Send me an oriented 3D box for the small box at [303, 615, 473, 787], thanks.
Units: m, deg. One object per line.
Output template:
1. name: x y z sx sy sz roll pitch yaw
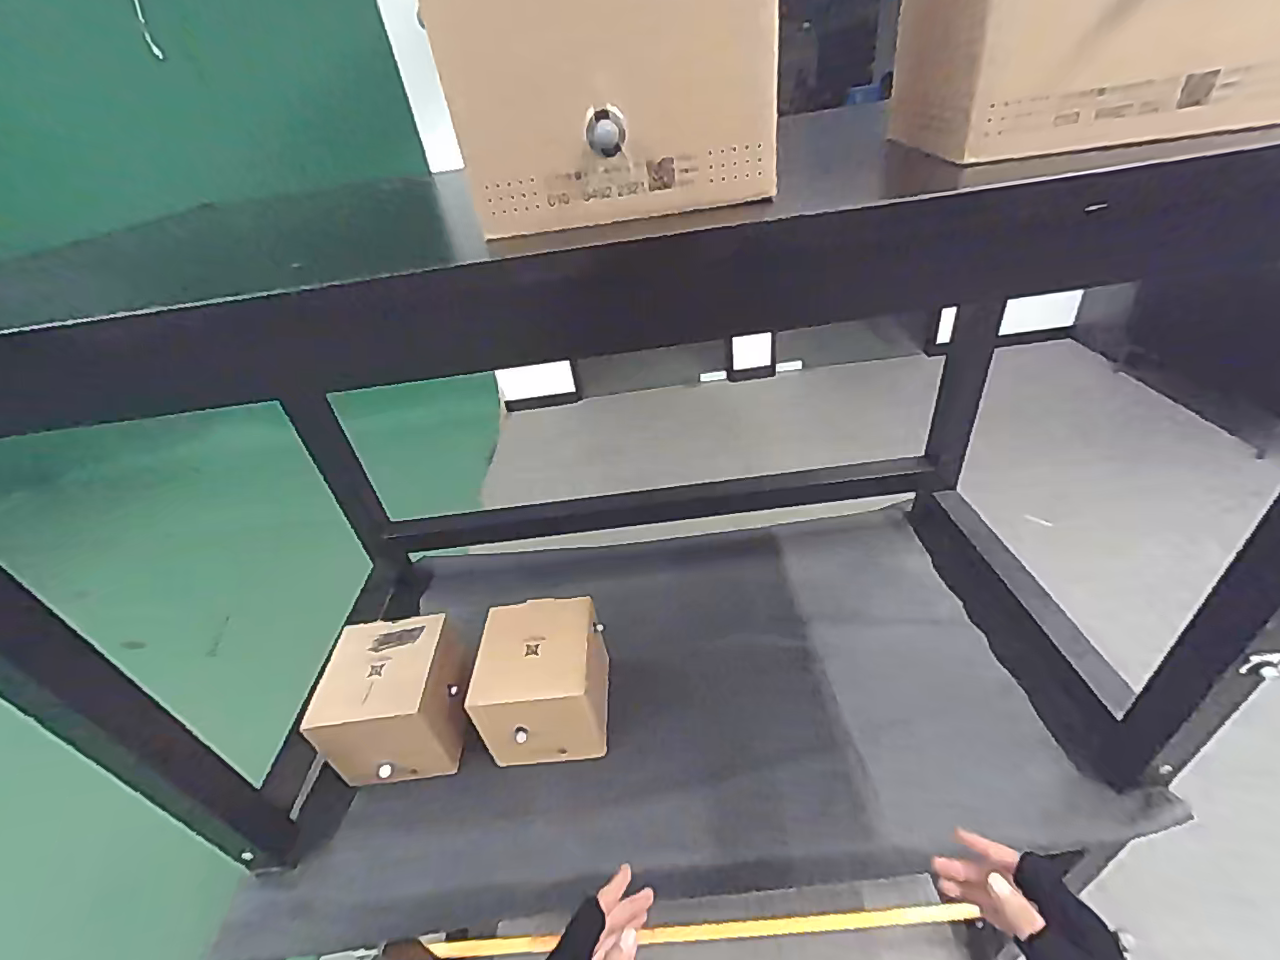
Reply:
1. small box: -0.368 0.338 0.835 0.168 0.176 0.179 -9 35 1

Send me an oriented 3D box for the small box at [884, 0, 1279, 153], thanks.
1. small box: 0.251 -0.297 0.309 0.168 0.176 0.179 -2 35 10

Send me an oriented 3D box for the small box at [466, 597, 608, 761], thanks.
1. small box: -0.143 0.308 0.828 0.168 0.176 0.179 -7 34 3
